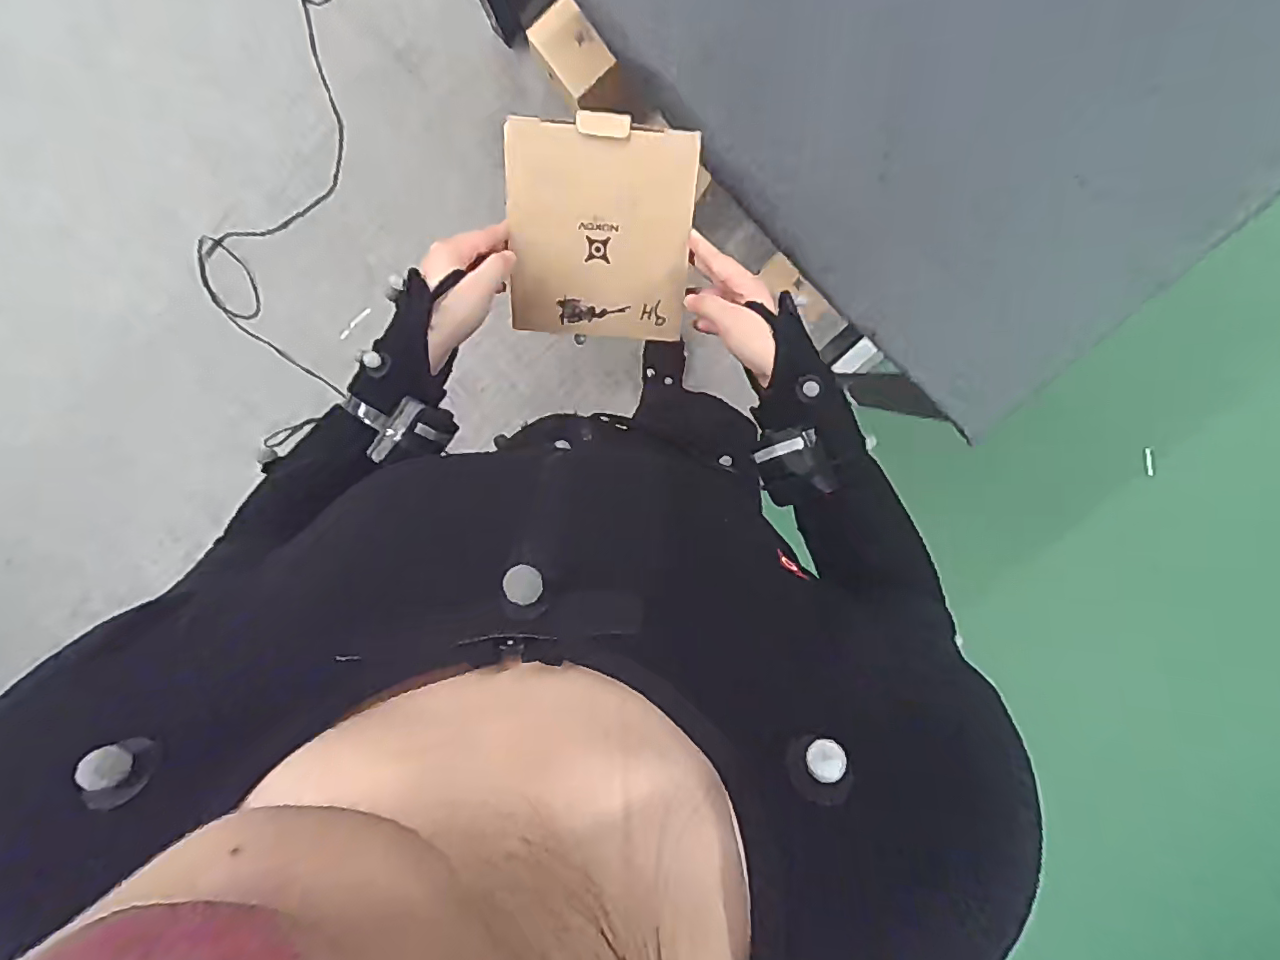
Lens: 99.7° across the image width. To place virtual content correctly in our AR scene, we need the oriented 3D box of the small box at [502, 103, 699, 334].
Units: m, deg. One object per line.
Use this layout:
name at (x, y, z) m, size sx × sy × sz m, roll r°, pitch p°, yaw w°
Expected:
small box at (-0.039, -0.259, 0.549) m, size 0.168 × 0.176 × 0.179 m, roll 4°, pitch 118°, yaw -2°

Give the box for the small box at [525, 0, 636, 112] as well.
small box at (-0.122, -0.933, 1.197) m, size 0.179 × 0.176 × 0.168 m, roll -38°, pitch 98°, yaw 8°

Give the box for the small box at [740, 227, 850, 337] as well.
small box at (0.354, -0.456, 1.282) m, size 0.168 × 0.176 × 0.179 m, roll 42°, pitch 100°, yaw -8°
